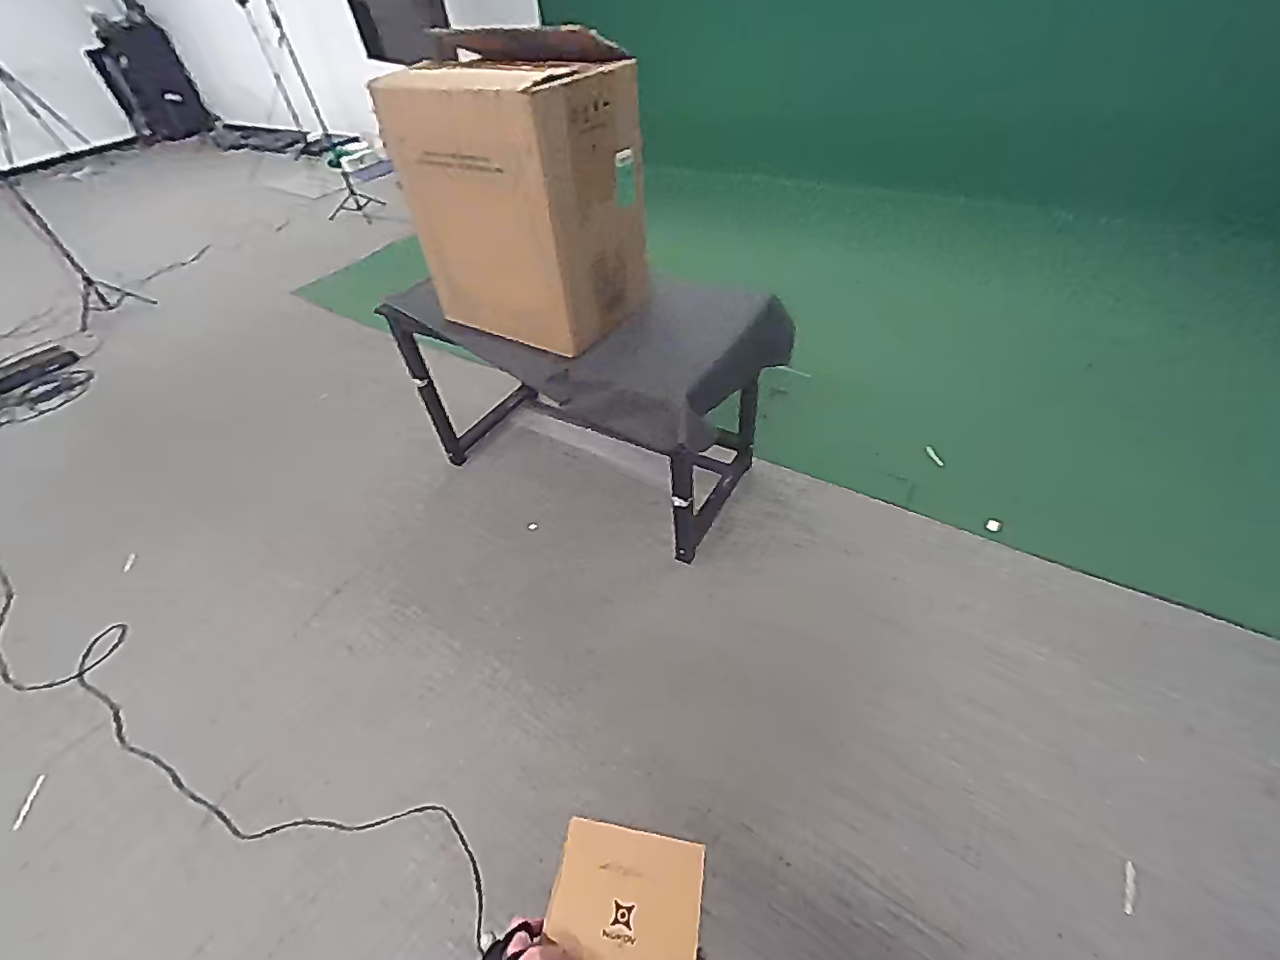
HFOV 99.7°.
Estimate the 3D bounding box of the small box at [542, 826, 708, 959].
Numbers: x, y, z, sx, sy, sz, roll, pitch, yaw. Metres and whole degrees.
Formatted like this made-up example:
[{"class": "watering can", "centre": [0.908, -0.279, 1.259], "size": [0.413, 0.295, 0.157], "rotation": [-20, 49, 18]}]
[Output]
[{"class": "small box", "centre": [-0.016, 0.543, 0.624], "size": [0.168, 0.176, 0.179], "rotation": [7, 37, 6]}]
